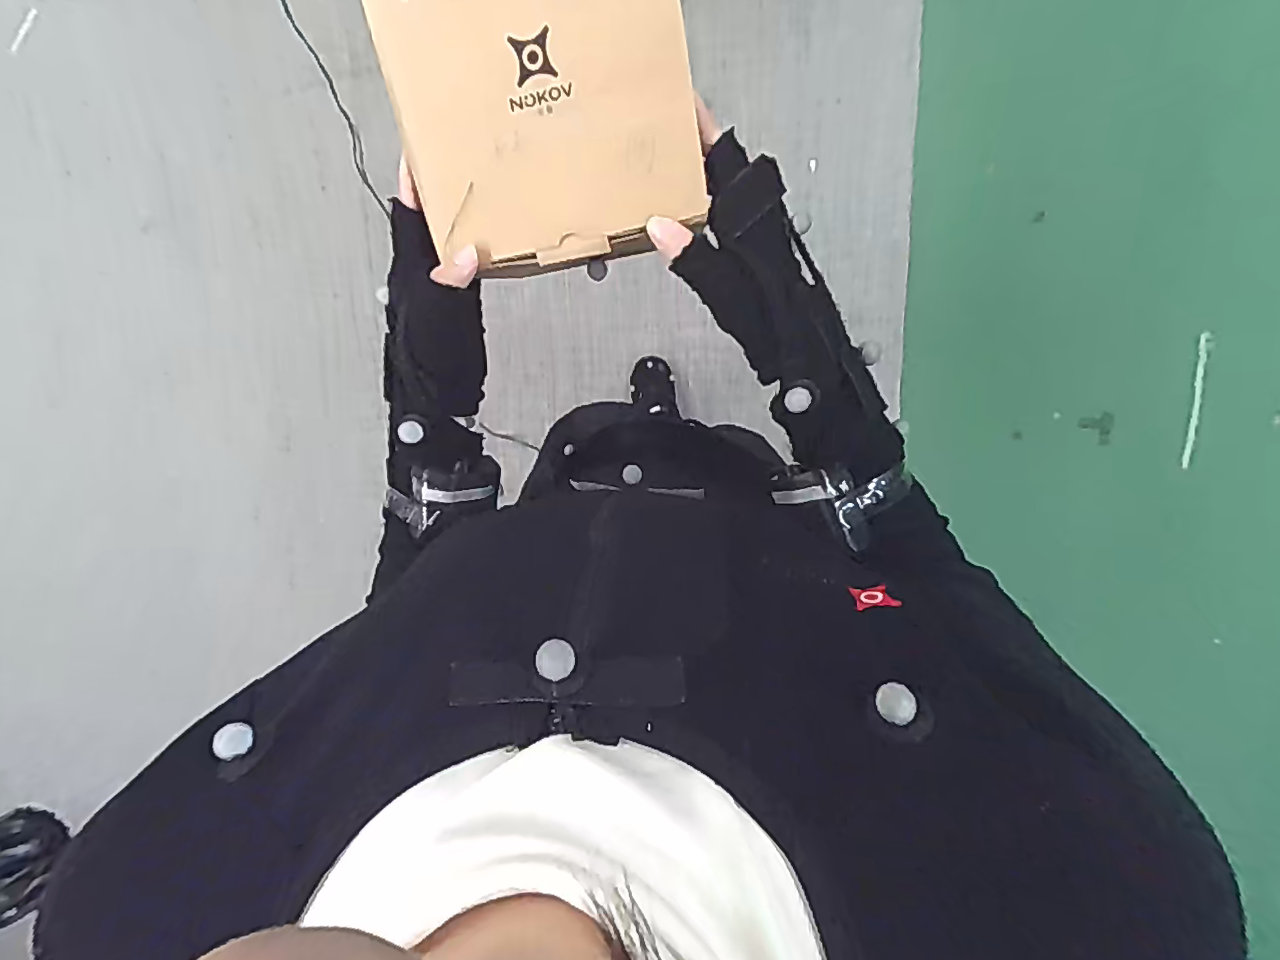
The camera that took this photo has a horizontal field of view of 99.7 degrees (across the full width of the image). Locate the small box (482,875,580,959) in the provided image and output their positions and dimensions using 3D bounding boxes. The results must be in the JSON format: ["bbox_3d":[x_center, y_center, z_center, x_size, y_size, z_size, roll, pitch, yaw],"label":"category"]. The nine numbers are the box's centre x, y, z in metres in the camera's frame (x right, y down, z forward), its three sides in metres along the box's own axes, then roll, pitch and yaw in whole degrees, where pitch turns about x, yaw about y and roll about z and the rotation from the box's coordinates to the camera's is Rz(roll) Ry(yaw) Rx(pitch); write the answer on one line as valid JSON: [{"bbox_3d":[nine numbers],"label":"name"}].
[{"bbox_3d":[-0.238,1.041,1.230,0.179,0.176,0.168,-4,97,7],"label":"small box"}]

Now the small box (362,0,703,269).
[{"bbox_3d":[-0.051,-0.250,0.364,0.168,0.176,0.179,-9,111,8],"label":"small box"}]
